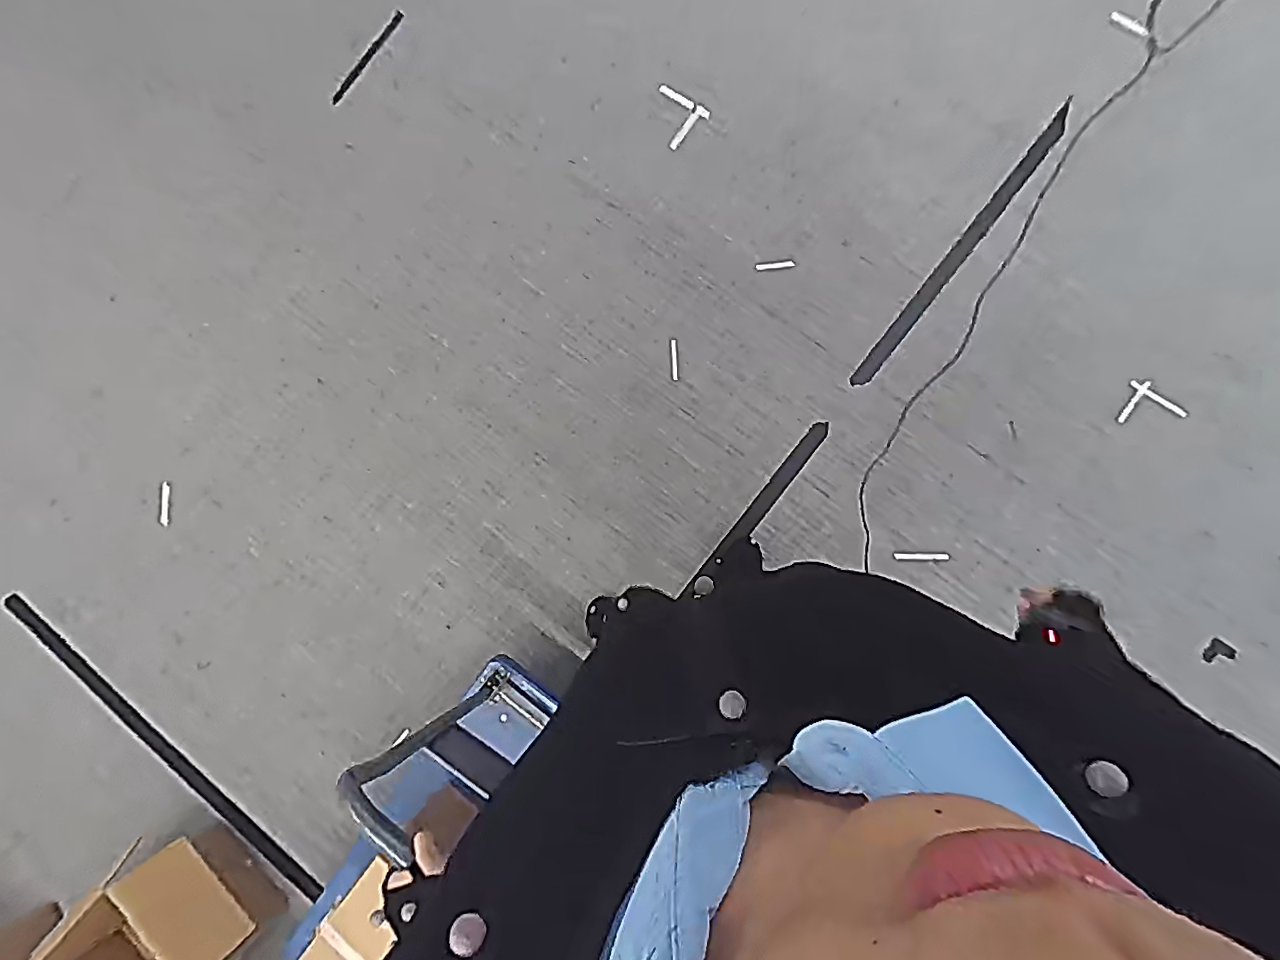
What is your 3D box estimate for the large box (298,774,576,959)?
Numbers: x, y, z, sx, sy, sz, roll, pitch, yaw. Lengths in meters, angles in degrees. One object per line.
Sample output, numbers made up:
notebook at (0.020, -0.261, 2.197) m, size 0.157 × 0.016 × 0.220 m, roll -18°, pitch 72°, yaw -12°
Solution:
large box at (-0.403, 0.927, 1.139) m, size 0.408 × 0.320 × 0.320 m, roll 37°, pitch 89°, yaw 6°
